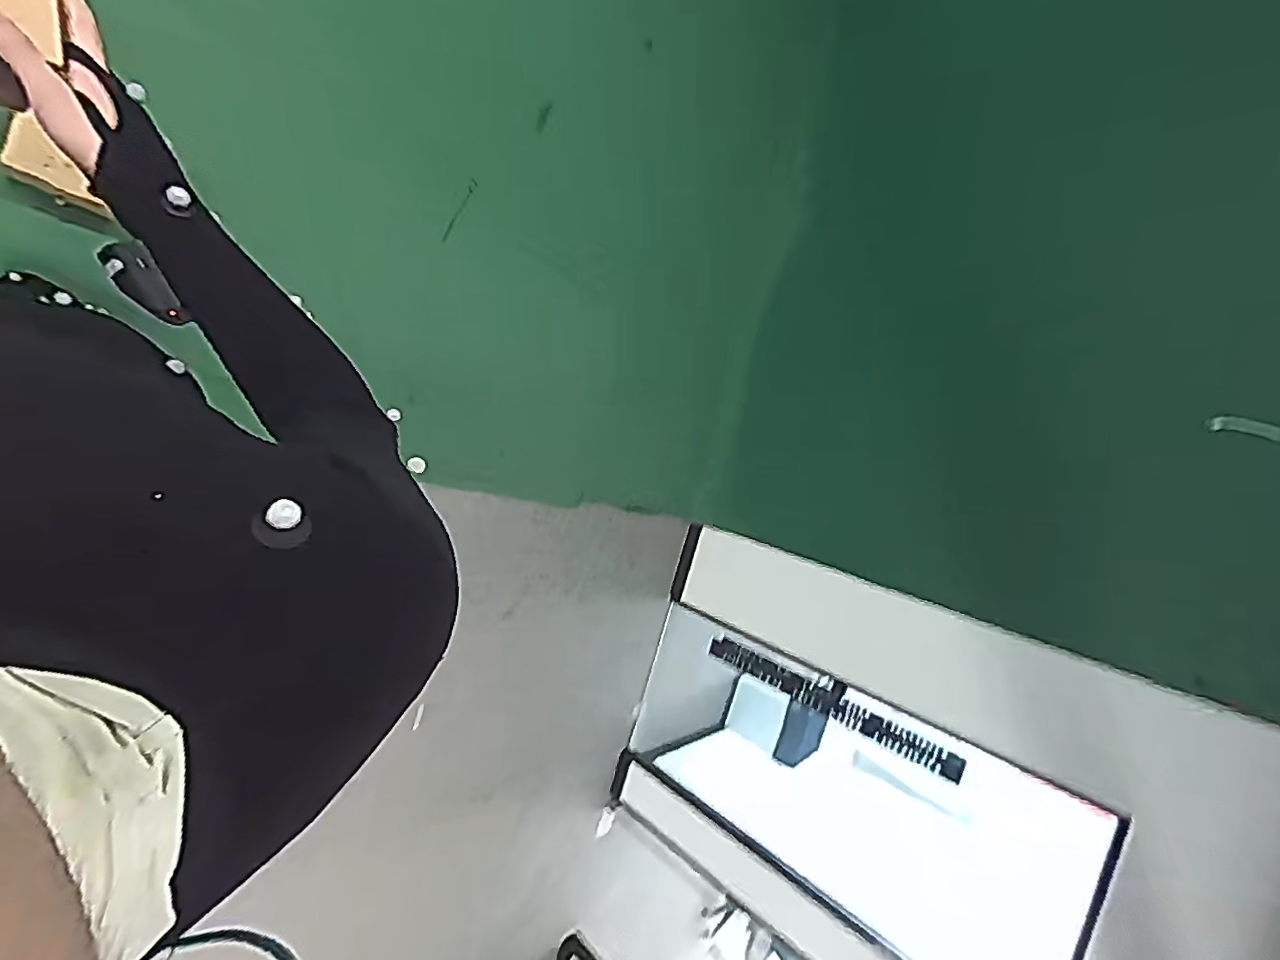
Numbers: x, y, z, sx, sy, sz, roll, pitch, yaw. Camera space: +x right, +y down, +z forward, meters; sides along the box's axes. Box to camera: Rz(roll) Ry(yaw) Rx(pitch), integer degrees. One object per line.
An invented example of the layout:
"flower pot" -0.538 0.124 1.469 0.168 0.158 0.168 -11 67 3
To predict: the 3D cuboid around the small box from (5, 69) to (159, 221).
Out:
"small box" -1.058 -0.620 1.025 0.168 0.176 0.179 19 90 -51
